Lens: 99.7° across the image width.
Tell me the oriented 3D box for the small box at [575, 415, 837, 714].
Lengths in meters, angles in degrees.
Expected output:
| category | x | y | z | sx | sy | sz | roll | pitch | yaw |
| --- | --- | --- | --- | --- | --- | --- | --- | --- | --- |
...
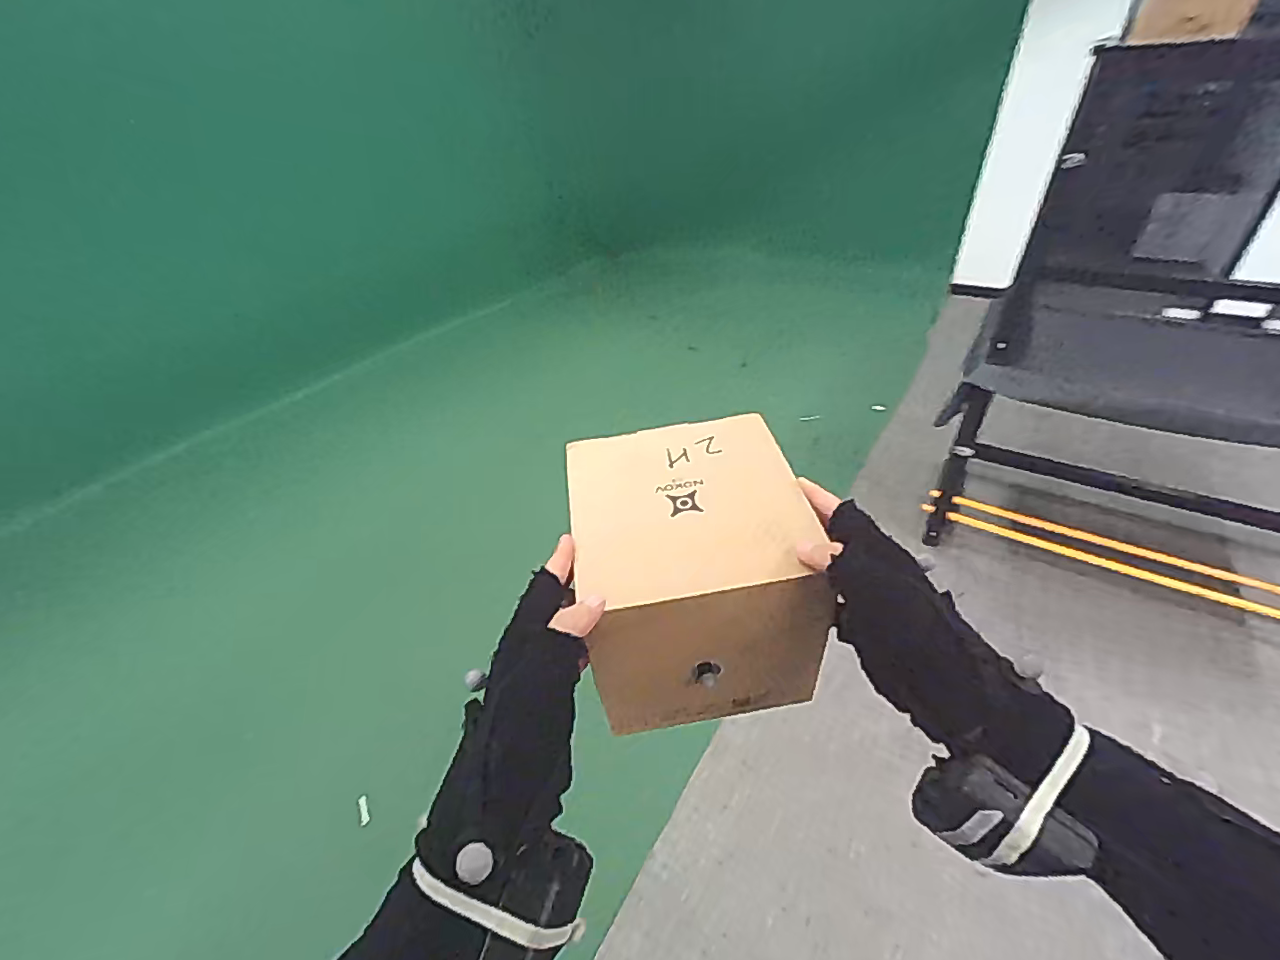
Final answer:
| category | x | y | z | sx | sy | sz | roll | pitch | yaw |
| --- | --- | --- | --- | --- | --- | --- | --- | --- | --- |
| small box | 0.043 | 0.072 | 0.448 | 0.168 | 0.176 | 0.179 | -8 | 40 | -2 |
